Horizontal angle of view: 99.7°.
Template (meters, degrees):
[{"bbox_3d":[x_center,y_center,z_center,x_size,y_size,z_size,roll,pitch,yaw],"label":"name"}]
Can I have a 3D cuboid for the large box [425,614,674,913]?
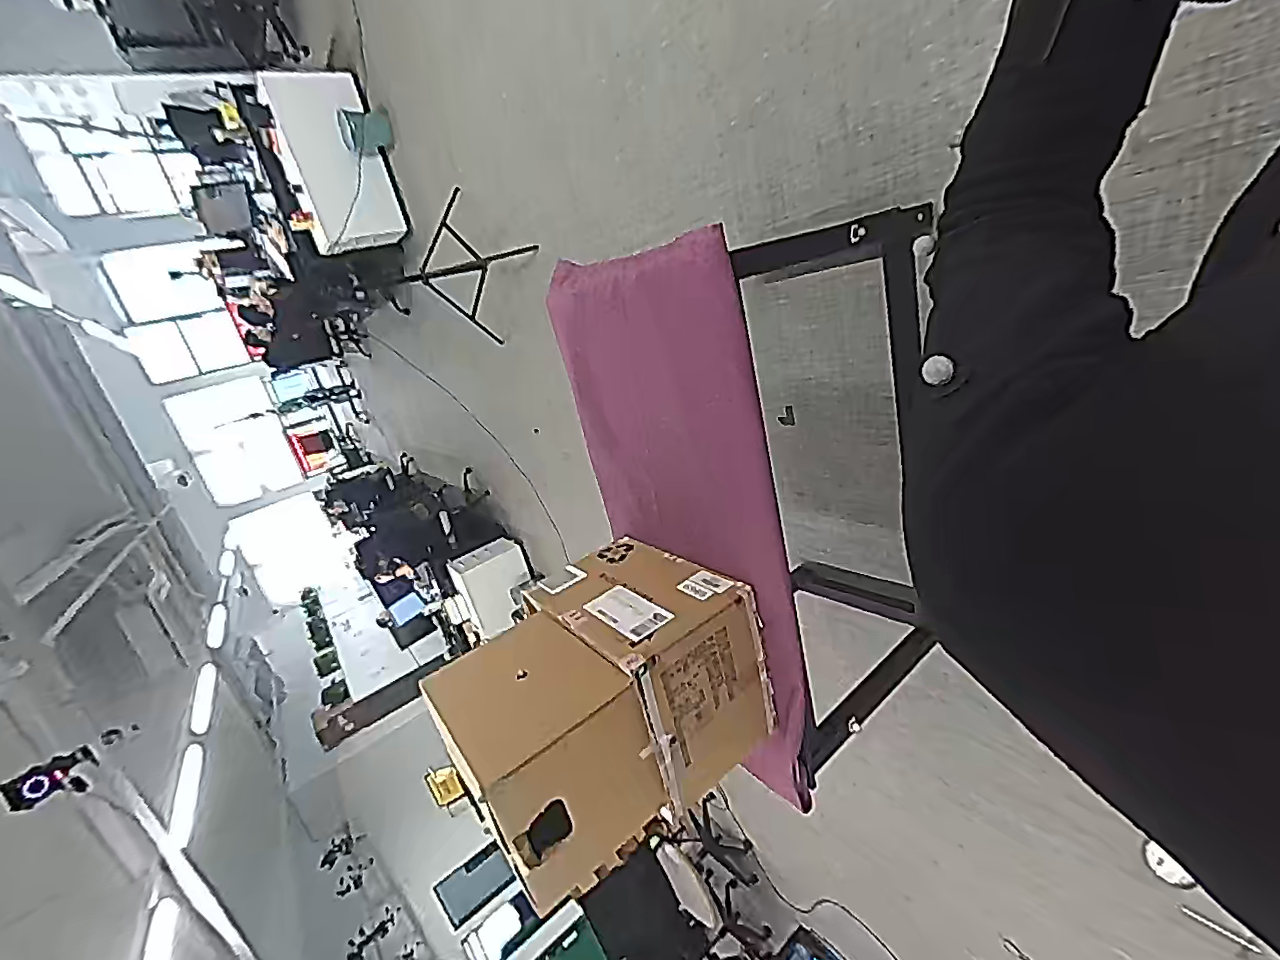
[{"bbox_3d":[-0.194,0.532,1.117,0.408,0.320,0.320,11,123,54],"label":"large box"}]
